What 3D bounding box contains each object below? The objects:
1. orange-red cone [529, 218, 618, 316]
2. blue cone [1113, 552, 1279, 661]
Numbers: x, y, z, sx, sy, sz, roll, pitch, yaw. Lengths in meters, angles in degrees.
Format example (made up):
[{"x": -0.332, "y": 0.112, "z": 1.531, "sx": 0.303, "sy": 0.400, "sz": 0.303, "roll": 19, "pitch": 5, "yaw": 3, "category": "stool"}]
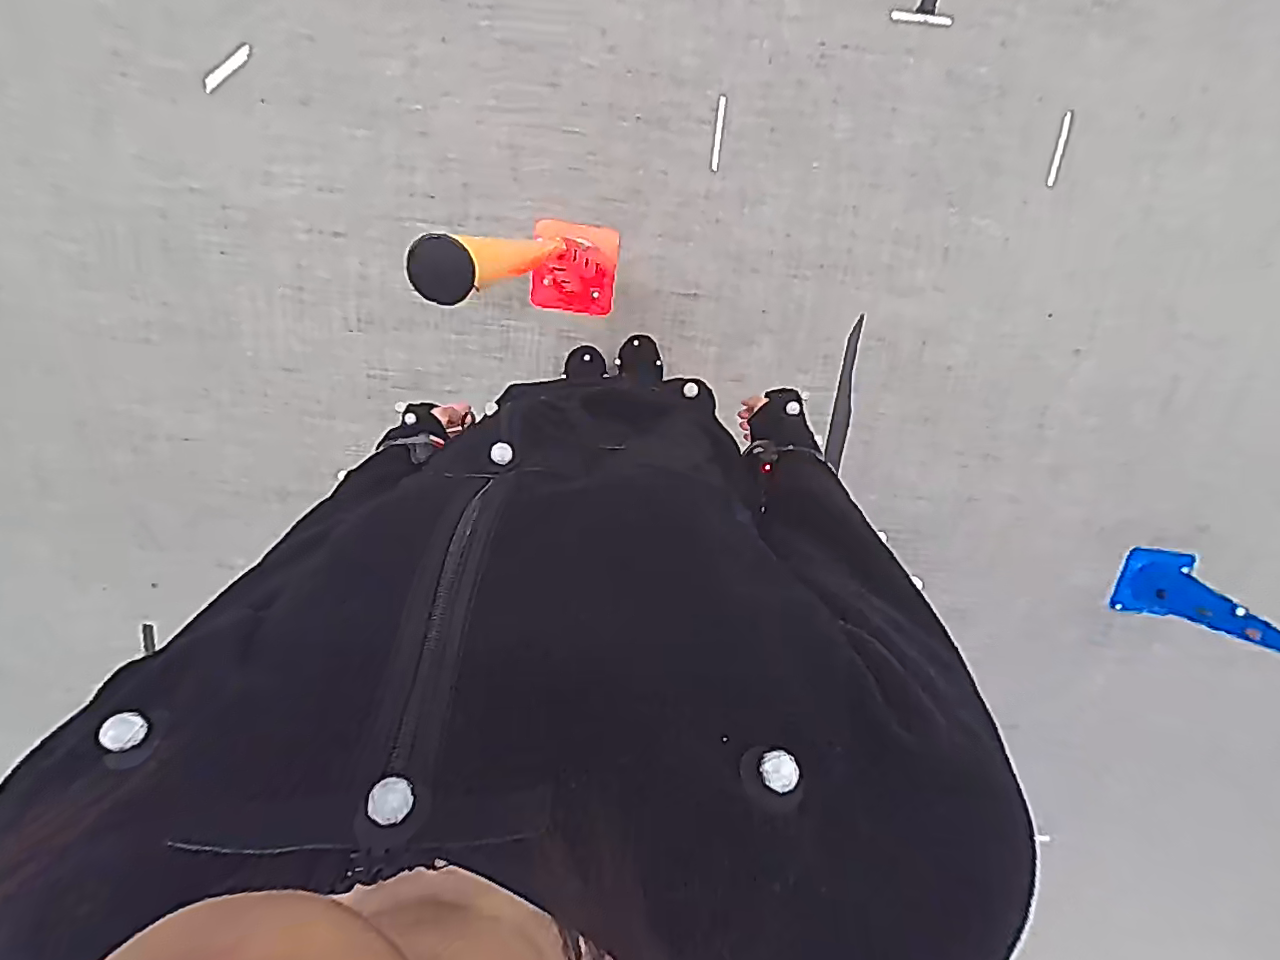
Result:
[{"x": -0.153, "y": -0.458, "z": 1.118, "sx": 0.198, "sy": 0.360, "sz": 0.199, "roll": 8, "pitch": 104, "yaw": -4, "category": "orange-red cone"}, {"x": 1.485, "y": 0.344, "z": 1.404, "sx": 0.193, "sy": 0.380, "sz": 0.192, "roll": 9, "pitch": 106, "yaw": -4, "category": "blue cone"}]
